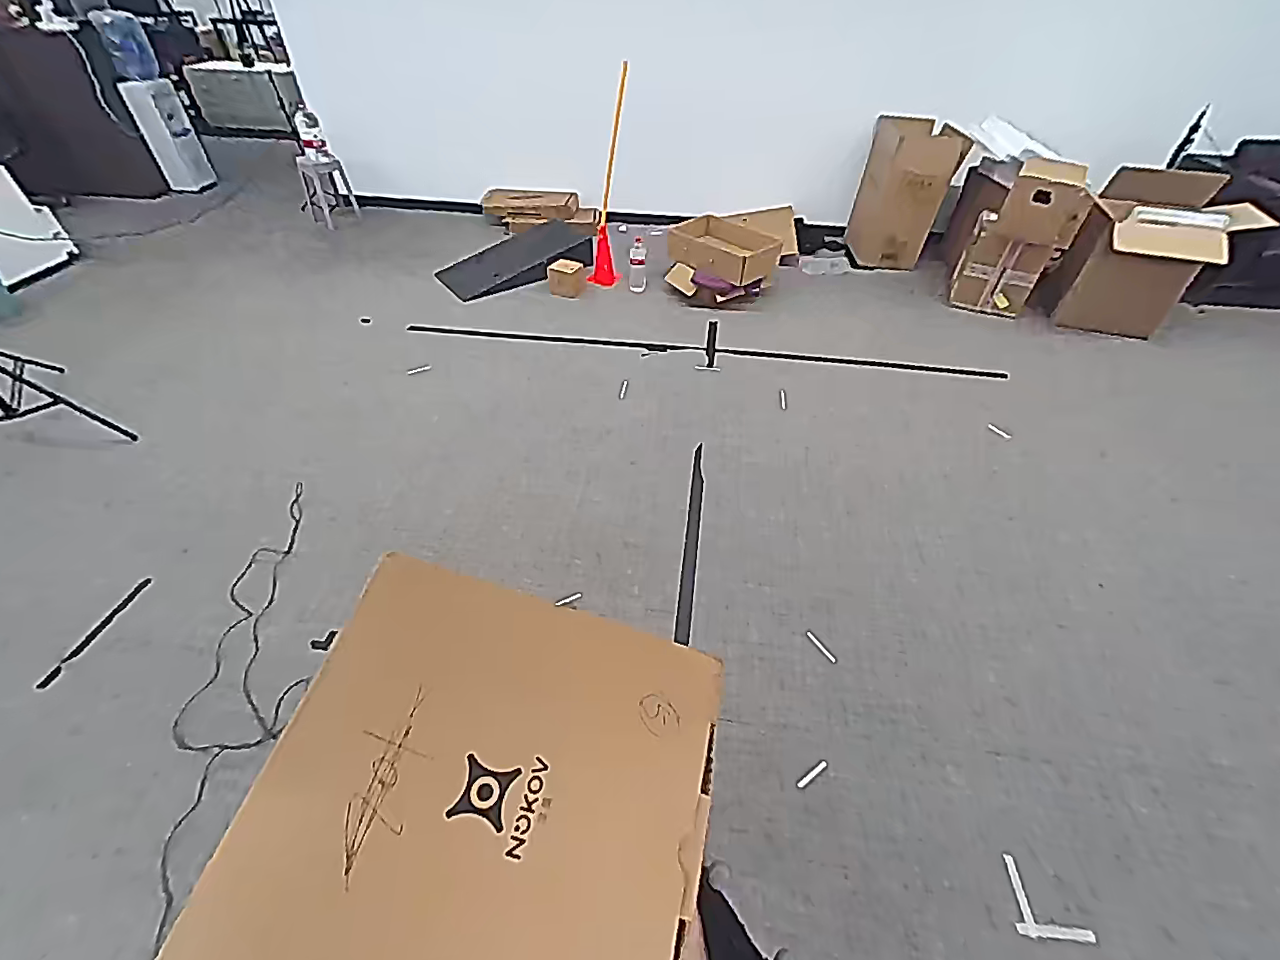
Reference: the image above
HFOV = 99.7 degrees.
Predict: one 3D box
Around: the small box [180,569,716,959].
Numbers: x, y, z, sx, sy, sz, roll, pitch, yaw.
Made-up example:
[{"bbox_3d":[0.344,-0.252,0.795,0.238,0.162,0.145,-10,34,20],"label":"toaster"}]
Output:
[{"bbox_3d":[-0.077,0.174,0.297,0.179,0.176,0.168,17,57,-3],"label":"small box"}]
